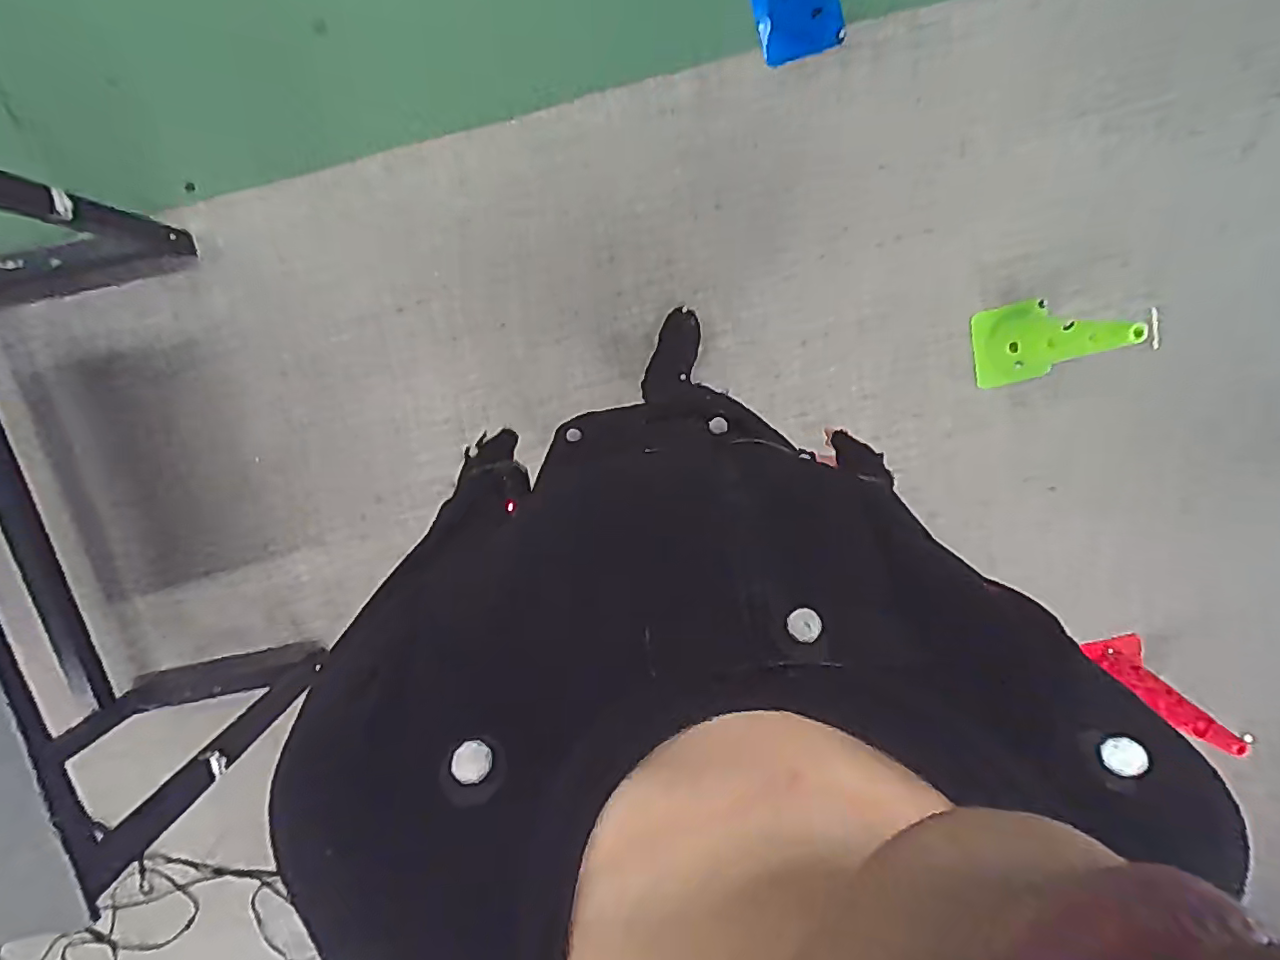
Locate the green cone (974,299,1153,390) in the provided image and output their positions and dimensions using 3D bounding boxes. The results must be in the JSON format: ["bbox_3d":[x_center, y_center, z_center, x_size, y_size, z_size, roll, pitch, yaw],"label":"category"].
[{"bbox_3d":[0.979,-0.319,1.237,0.200,0.368,0.202,-15,101,1],"label":"green cone"}]
